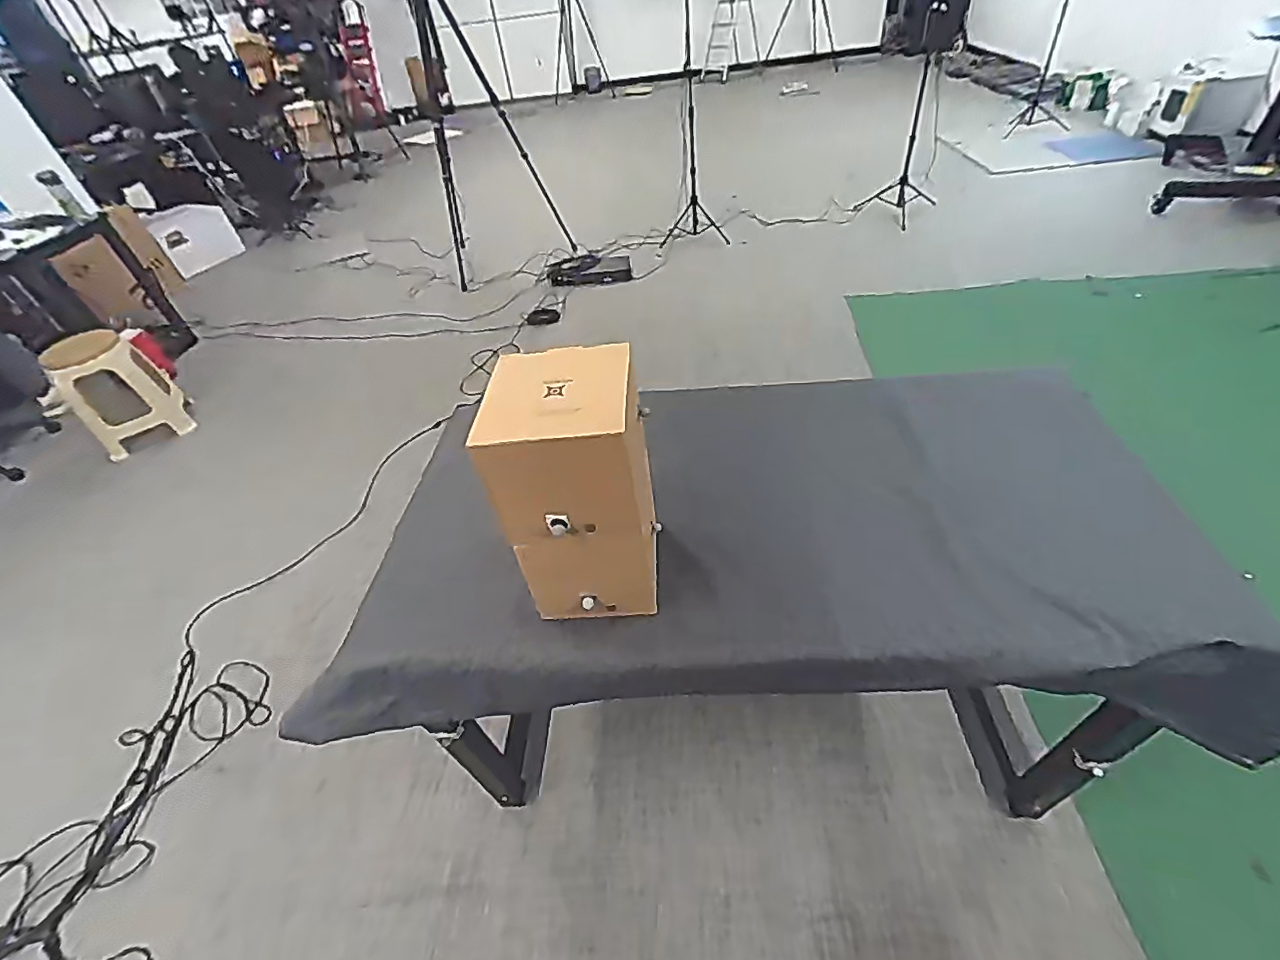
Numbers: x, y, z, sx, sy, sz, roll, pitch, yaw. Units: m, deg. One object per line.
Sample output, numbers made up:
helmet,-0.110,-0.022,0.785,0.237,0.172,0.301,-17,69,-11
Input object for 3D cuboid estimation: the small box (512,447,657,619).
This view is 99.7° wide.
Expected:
small box,-0.066,0.074,0.760,0.168,0.176,0.179,-4,44,5

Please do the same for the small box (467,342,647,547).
small box,-0.084,-0.041,0.648,0.168,0.176,0.179,-5,45,5
